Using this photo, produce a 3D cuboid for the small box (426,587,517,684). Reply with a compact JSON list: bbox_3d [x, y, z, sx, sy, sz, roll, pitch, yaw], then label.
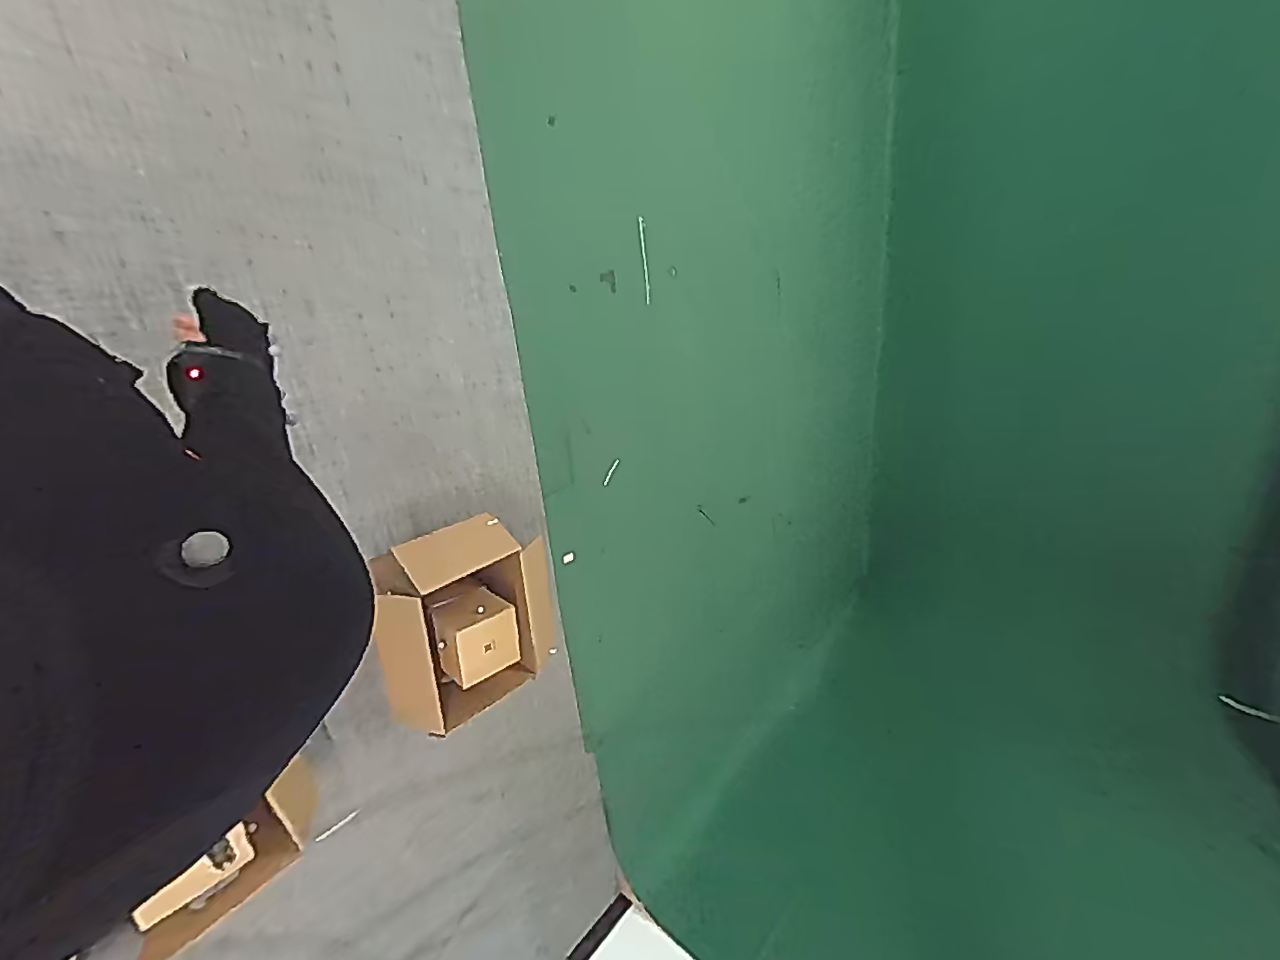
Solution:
[{"bbox_3d":[-0.462,0.412,1.465,0.179,0.176,0.168,-19,113,-44],"label":"small box"}]
